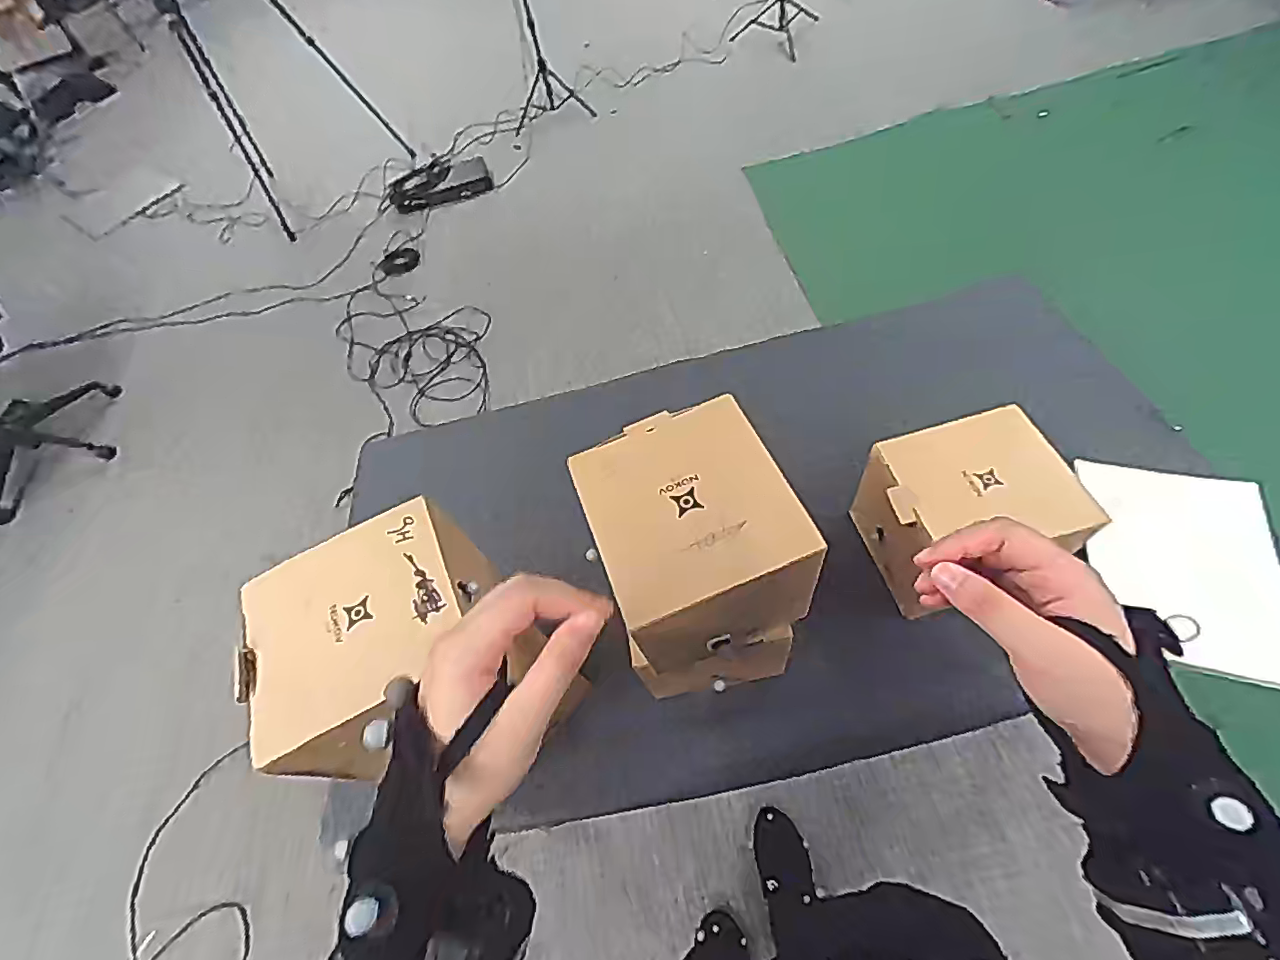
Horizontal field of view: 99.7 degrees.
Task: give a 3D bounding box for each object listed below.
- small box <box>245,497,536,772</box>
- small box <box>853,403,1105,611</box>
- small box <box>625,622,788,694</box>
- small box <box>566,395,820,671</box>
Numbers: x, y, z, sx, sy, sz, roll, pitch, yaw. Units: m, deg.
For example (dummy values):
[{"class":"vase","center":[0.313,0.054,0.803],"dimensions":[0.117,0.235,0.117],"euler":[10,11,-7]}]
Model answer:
[{"class":"small box","center":[-0.225,0.154,0.511],"dimensions":[0.179,0.176,0.168],"euler":[-28,58,-6]},{"class":"small box","center":[0.385,0.039,0.657],"dimensions":[0.179,0.176,0.168],"euler":[-17,56,1]},{"class":"small box","center":[0.070,0.141,0.656],"dimensions":[0.168,0.176,0.179],"euler":[-14,57,4]},{"class":"small box","center":[0.048,0.057,0.519],"dimensions":[0.168,0.176,0.179],"euler":[-23,58,-2]}]
